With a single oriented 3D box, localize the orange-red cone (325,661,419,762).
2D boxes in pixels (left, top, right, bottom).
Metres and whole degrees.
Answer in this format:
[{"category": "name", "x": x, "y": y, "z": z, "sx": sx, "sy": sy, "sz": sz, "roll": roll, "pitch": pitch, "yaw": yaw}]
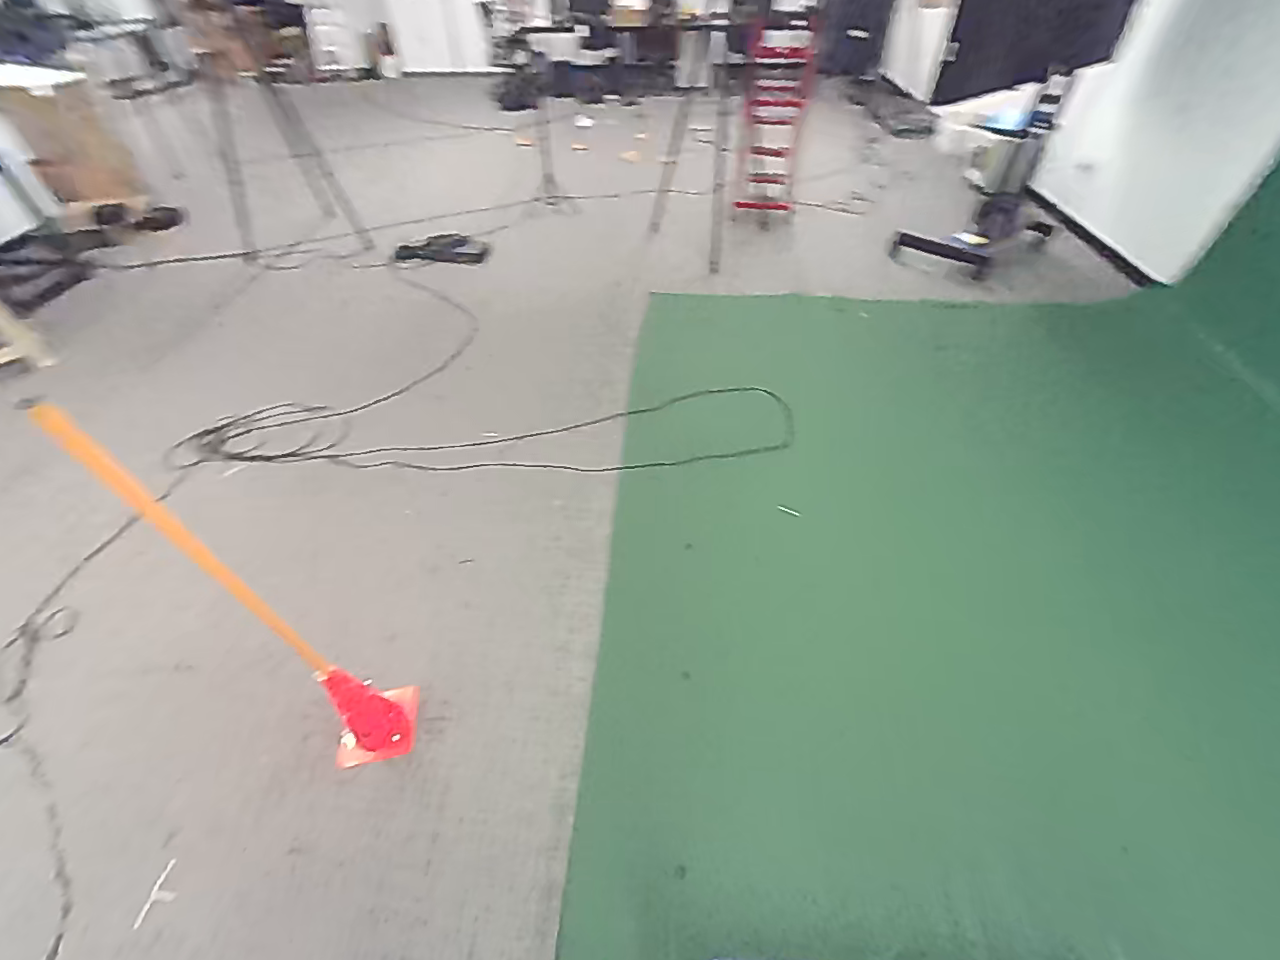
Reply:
[{"category": "orange-red cone", "x": -0.749, "y": 0.579, "z": 1.439, "sx": 0.198, "sy": 0.360, "sz": 0.199, "roll": -8, "pitch": 45, "yaw": -7}]
